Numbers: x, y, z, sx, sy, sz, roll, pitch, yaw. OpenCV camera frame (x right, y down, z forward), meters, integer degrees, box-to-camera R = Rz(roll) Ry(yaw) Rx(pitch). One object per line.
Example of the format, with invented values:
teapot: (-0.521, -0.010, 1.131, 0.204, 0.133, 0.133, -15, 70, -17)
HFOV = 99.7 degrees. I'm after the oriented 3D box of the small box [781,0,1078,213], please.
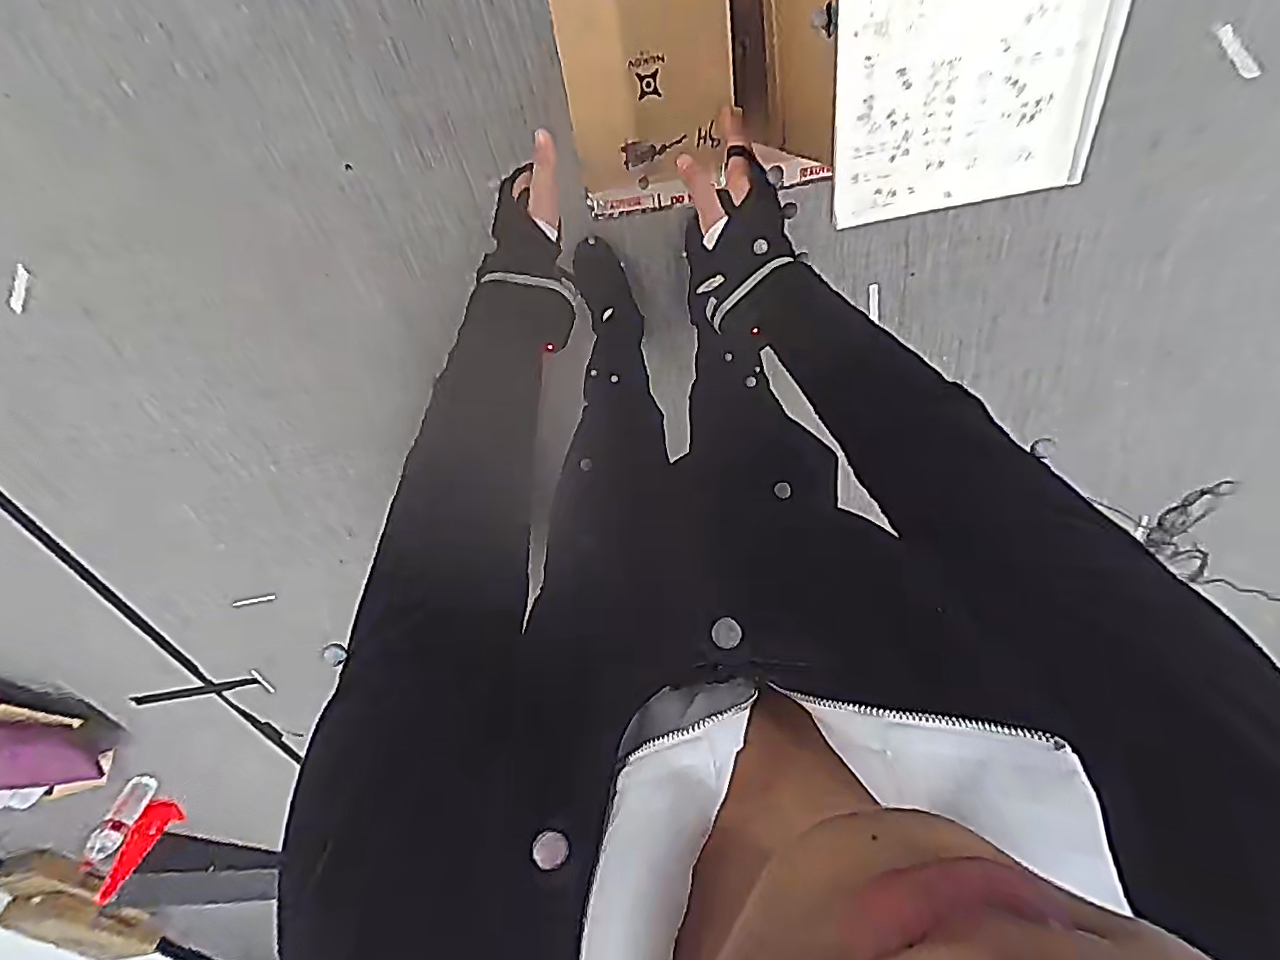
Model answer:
small box: (0.223, -0.348, 0.460, 0.168, 0.176, 0.179, -11, 126, 2)
